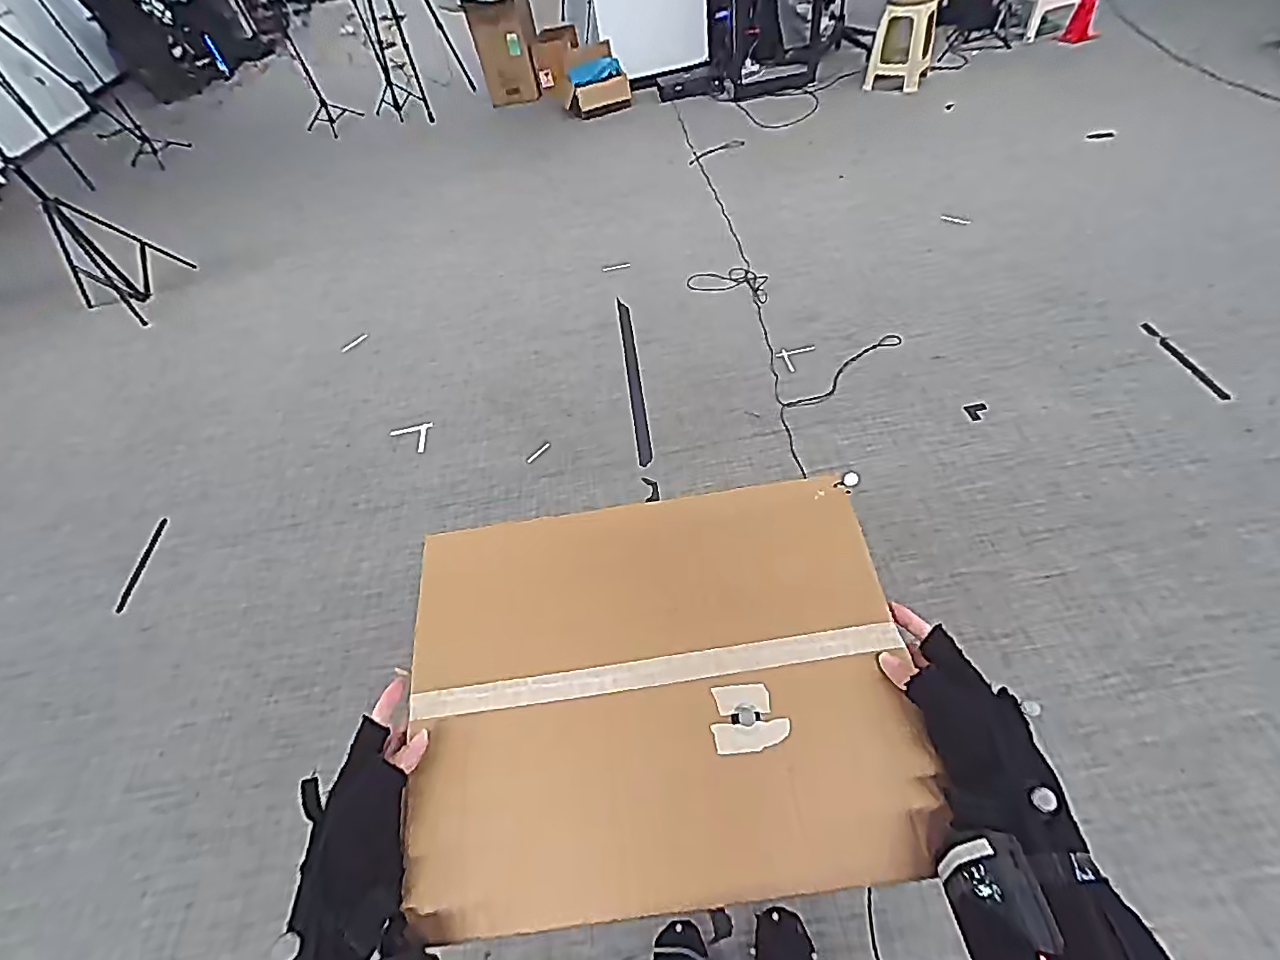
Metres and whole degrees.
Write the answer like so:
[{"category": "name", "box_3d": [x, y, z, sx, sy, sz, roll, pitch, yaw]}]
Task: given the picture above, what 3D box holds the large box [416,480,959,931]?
[{"category": "large box", "box_3d": [0.025, 0.235, 0.587, 0.408, 0.320, 0.320, -8, 60, 0]}]
